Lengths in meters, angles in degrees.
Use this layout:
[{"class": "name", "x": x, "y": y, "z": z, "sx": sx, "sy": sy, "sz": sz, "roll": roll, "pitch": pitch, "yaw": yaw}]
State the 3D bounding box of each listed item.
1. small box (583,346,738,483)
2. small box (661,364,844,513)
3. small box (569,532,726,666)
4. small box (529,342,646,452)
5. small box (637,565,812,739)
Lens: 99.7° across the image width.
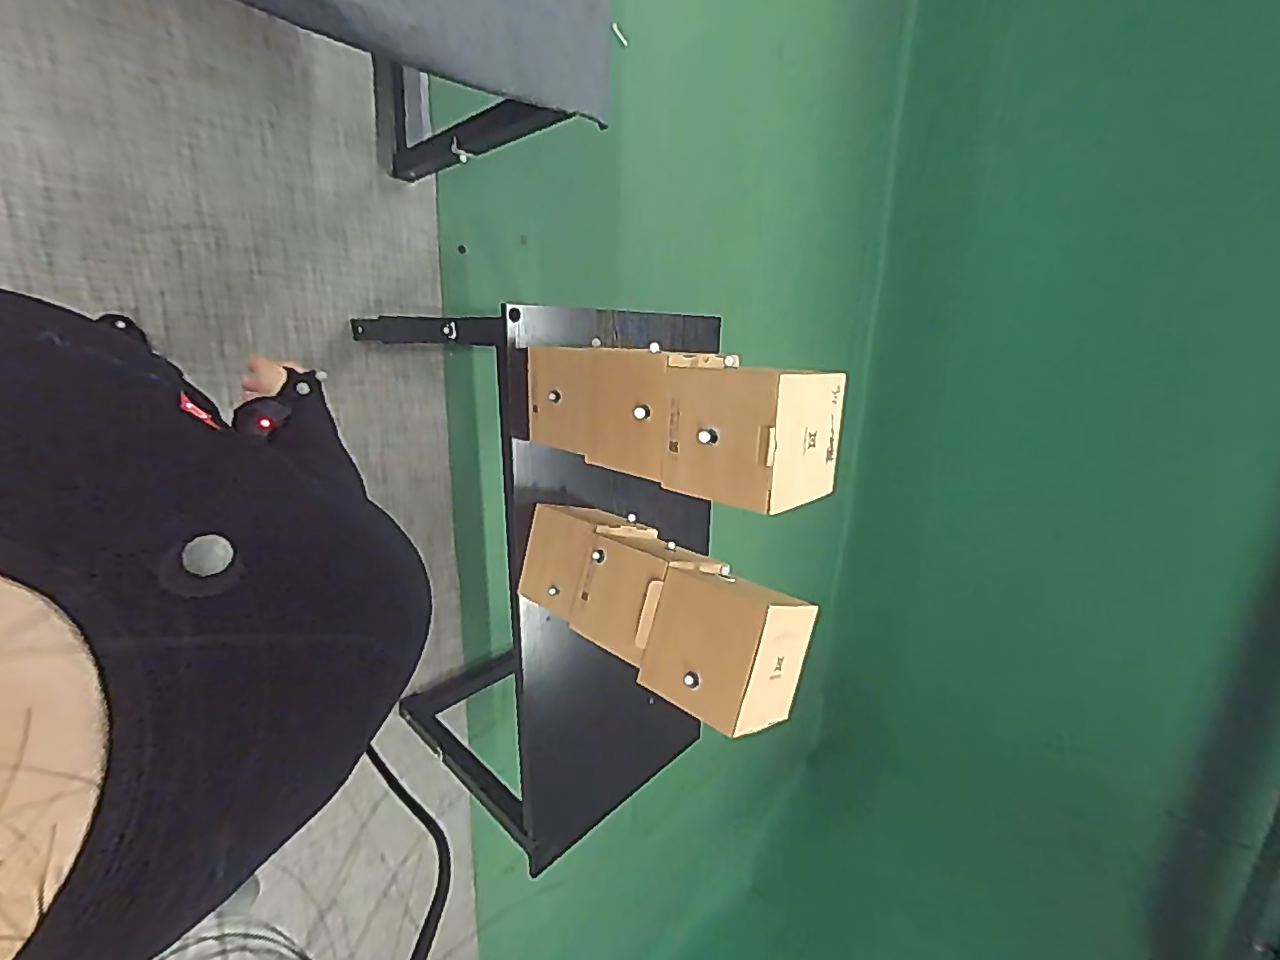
[{"class": "small box", "x": 0.027, "y": -0.108, "z": 0.822, "sx": 0.168, "sy": 0.176, "sz": 0.179, "roll": -13, "pitch": 111, "yaw": -45}, {"class": "small box", "x": 0.144, "y": -0.065, "z": 0.716, "sx": 0.179, "sy": 0.176, "sz": 0.168, "roll": -11, "pitch": 109, "yaw": -44}, {"class": "small box", "x": 0.010, "y": 0.189, "z": 0.893, "sx": 0.179, "sy": 0.176, "sz": 0.168, "roll": 13, "pitch": 93, "yaw": -49}, {"class": "small box", "x": -0.079, "y": -0.150, "z": 0.939, "sx": 0.179, "sy": 0.176, "sz": 0.168, "roll": -13, "pitch": 112, "yaw": -45}, {"class": "small box", "x": 0.118, "y": 0.236, "z": 0.781, "sx": 0.168, "sy": 0.176, "sz": 0.179, "roll": 16, "pitch": 90, "yaw": -50}]
